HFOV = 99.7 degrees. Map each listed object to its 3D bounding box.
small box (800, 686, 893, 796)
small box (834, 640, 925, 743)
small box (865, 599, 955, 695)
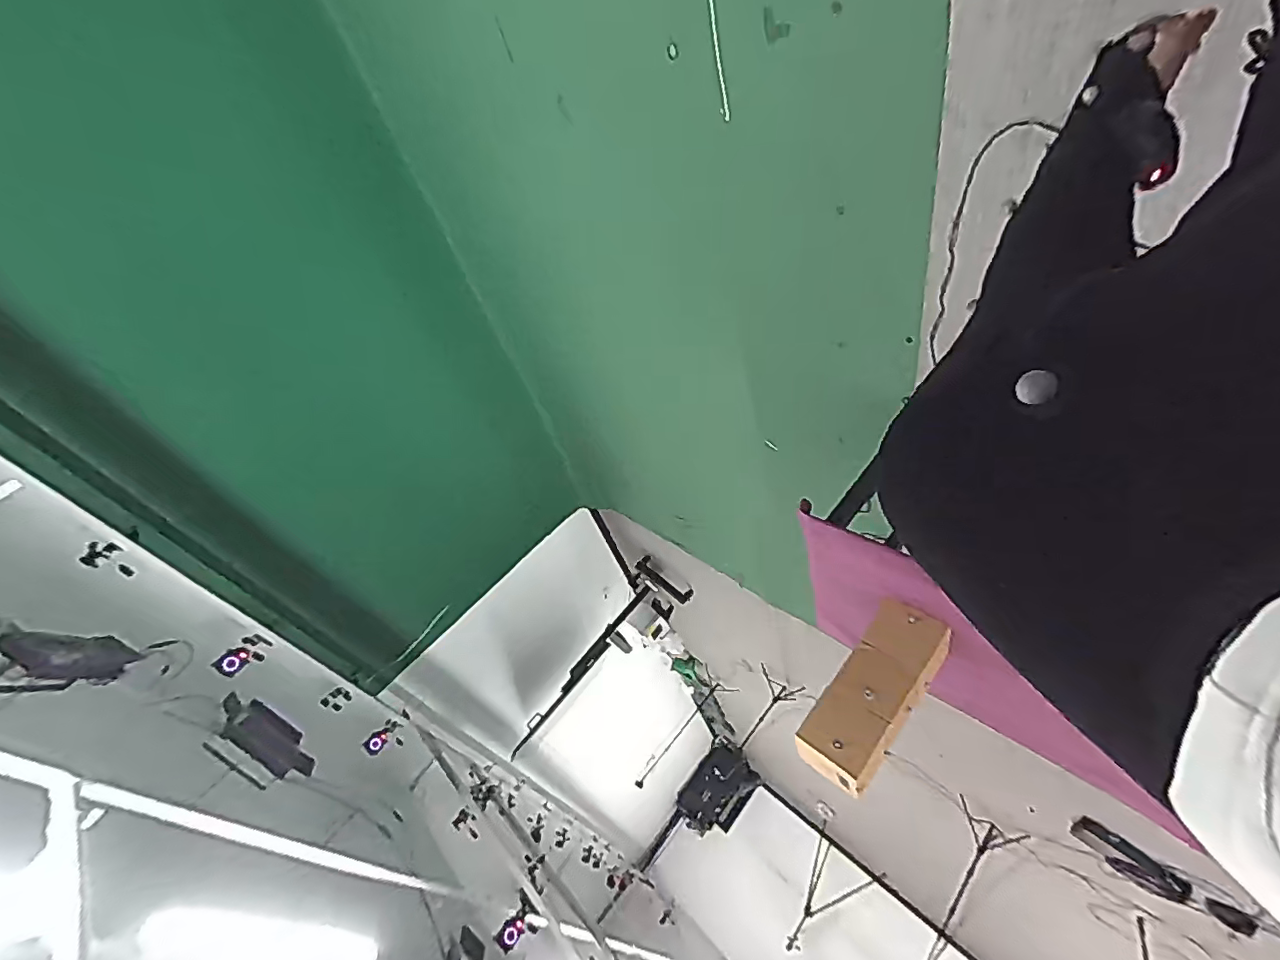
[{"bbox_3d":[0.550,0.683,1.431,0.179,0.176,0.168,25,150,41],"label":"small box"},{"bbox_3d":[0.660,0.576,1.488,0.179,0.176,0.168,26,151,40],"label":"small box"},{"bbox_3d":[0.768,0.469,1.547,0.179,0.176,0.168,26,152,41],"label":"small box"}]
